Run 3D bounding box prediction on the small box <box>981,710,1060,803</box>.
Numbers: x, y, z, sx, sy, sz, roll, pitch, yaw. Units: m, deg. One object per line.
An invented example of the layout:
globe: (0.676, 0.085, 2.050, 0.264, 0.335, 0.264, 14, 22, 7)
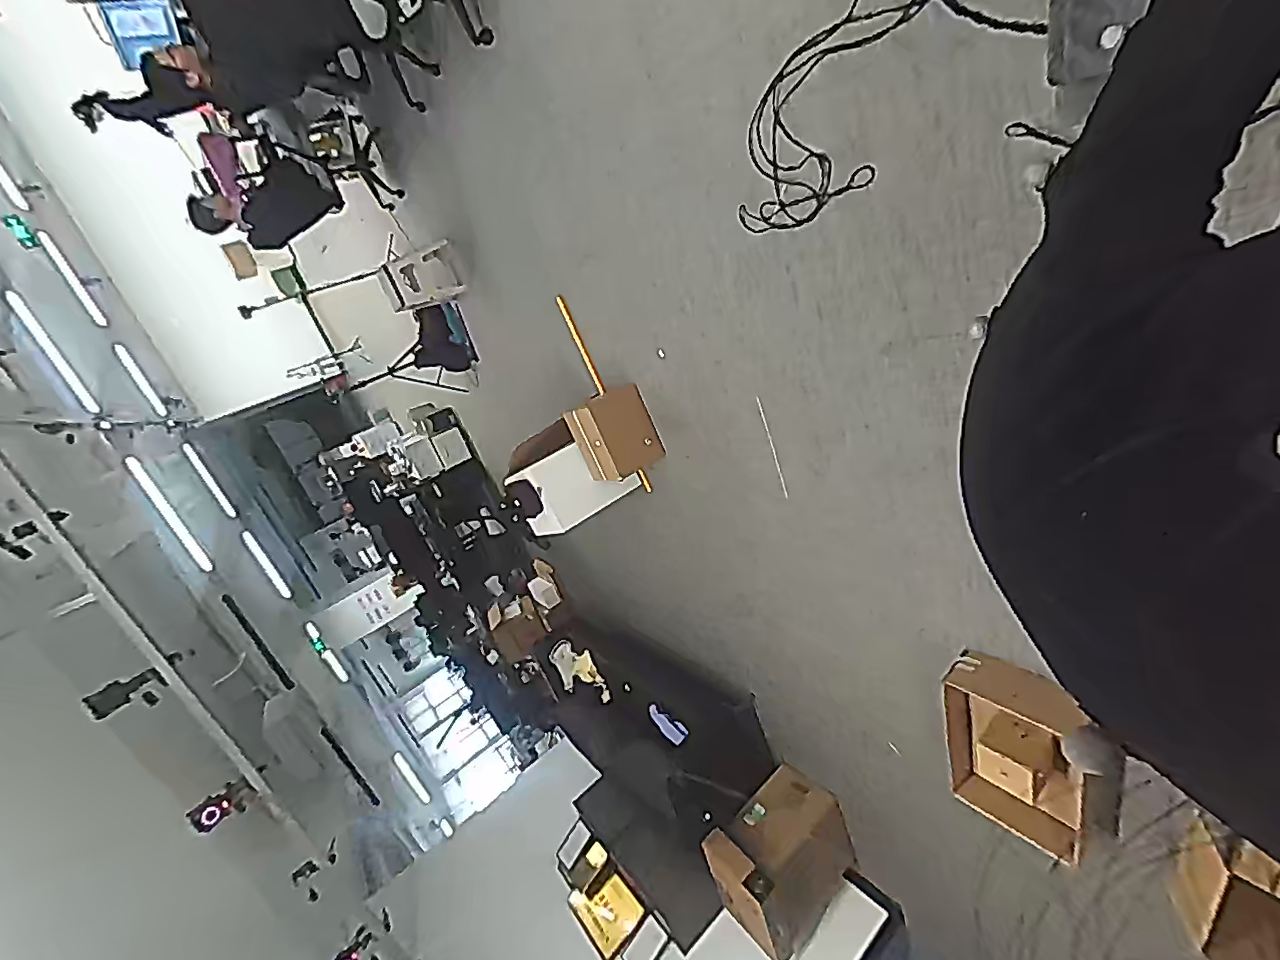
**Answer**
small box: (1.267, 0.912, 1.798, 0.168, 0.176, 0.179, 17, 132, 54)
